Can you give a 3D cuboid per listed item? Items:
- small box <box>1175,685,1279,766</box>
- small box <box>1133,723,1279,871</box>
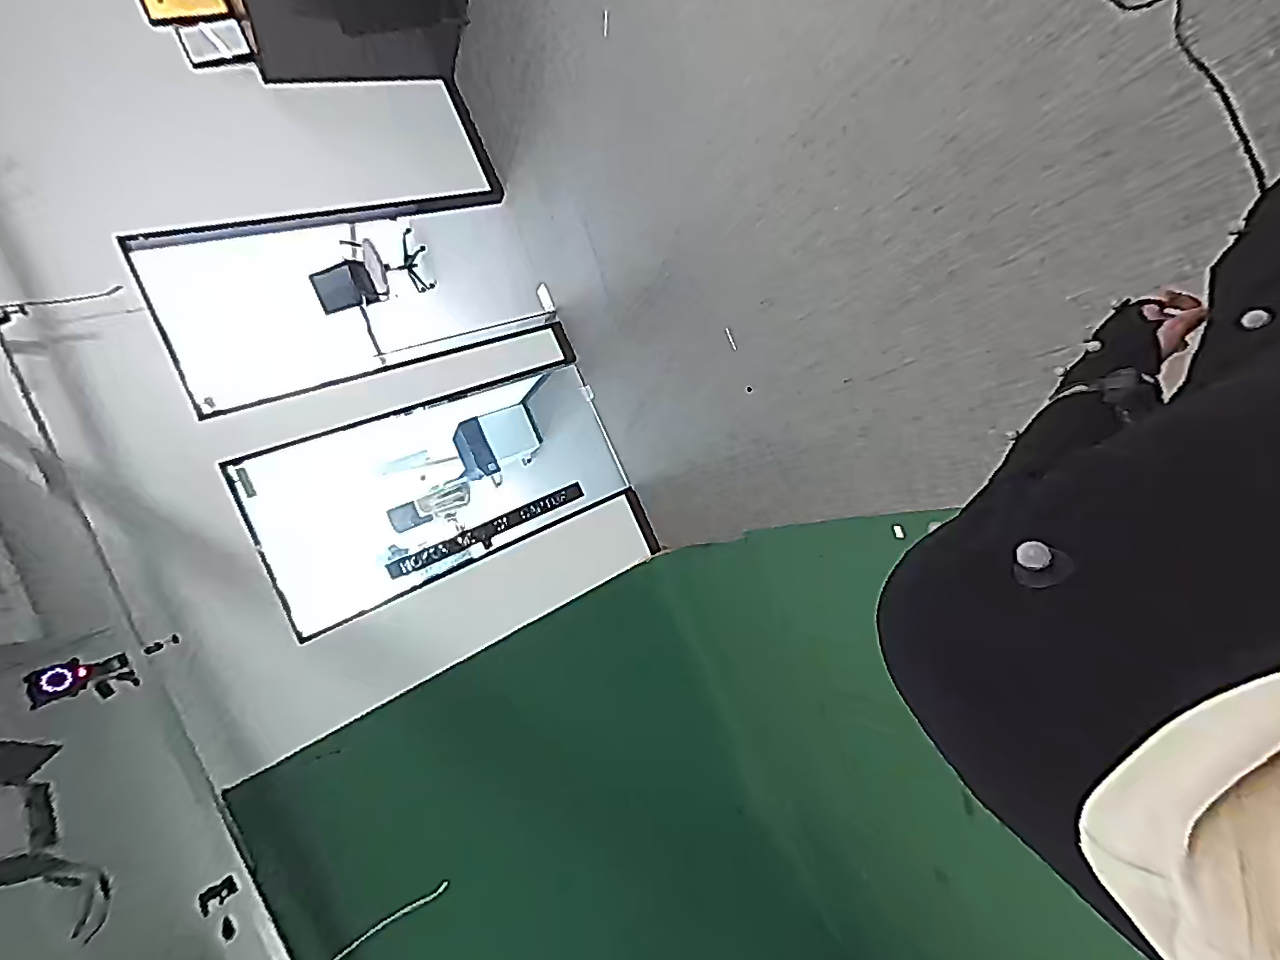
[{"bbox_3d":[1.306,0.566,1.154,0.168,0.176,0.179,-23,91,63],"label":"small box"},{"bbox_3d":[1.167,0.625,1.092,0.179,0.176,0.168,66,153,5],"label":"small box"}]
